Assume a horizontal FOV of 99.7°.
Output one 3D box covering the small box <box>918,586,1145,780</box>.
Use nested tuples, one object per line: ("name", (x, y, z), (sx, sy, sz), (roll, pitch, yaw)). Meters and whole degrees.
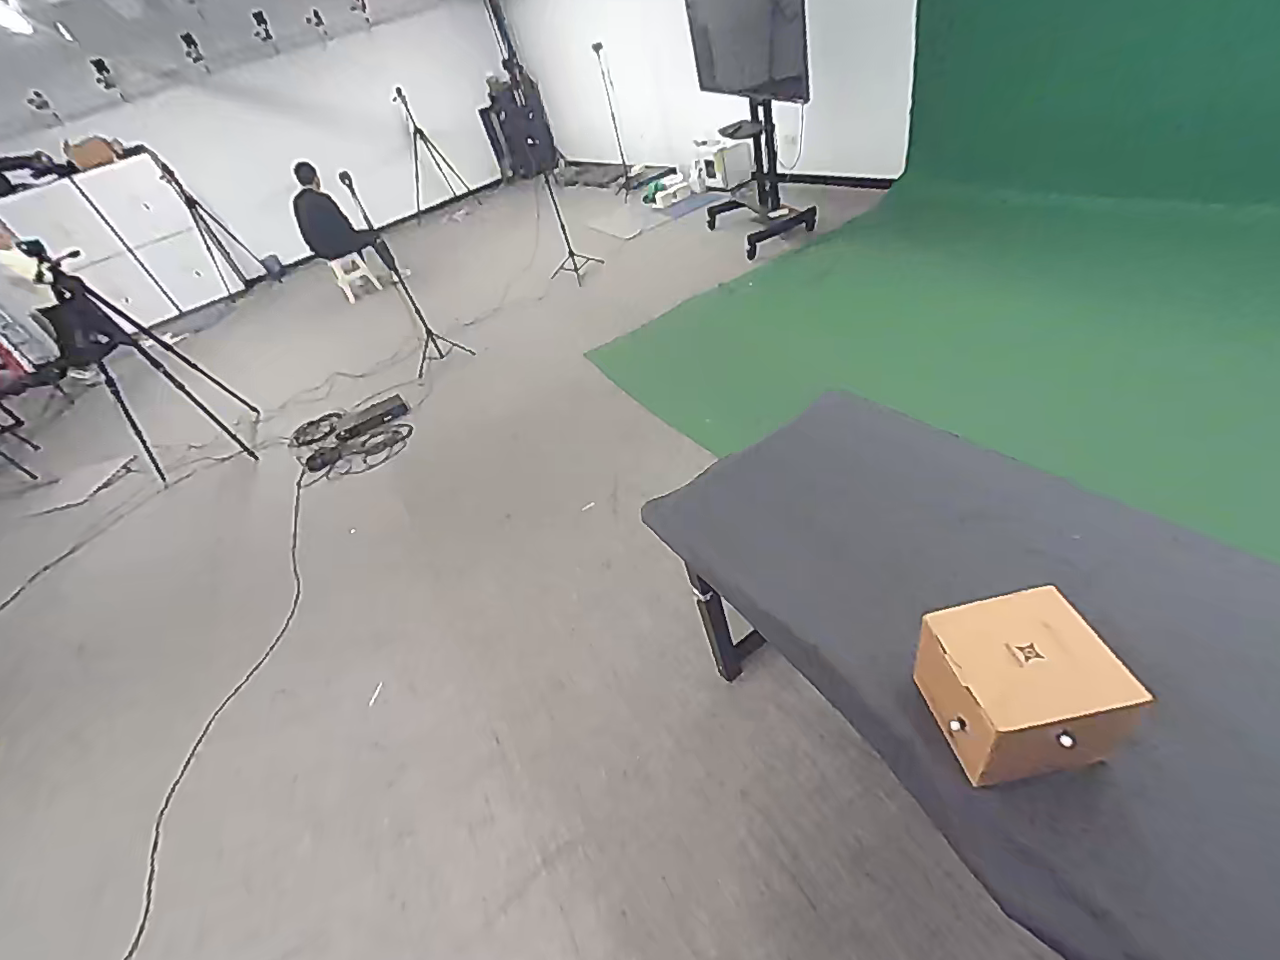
("small box", (0.493, 0.273, 0.719), (0.179, 0.176, 0.168), (-14, 41, 3))
